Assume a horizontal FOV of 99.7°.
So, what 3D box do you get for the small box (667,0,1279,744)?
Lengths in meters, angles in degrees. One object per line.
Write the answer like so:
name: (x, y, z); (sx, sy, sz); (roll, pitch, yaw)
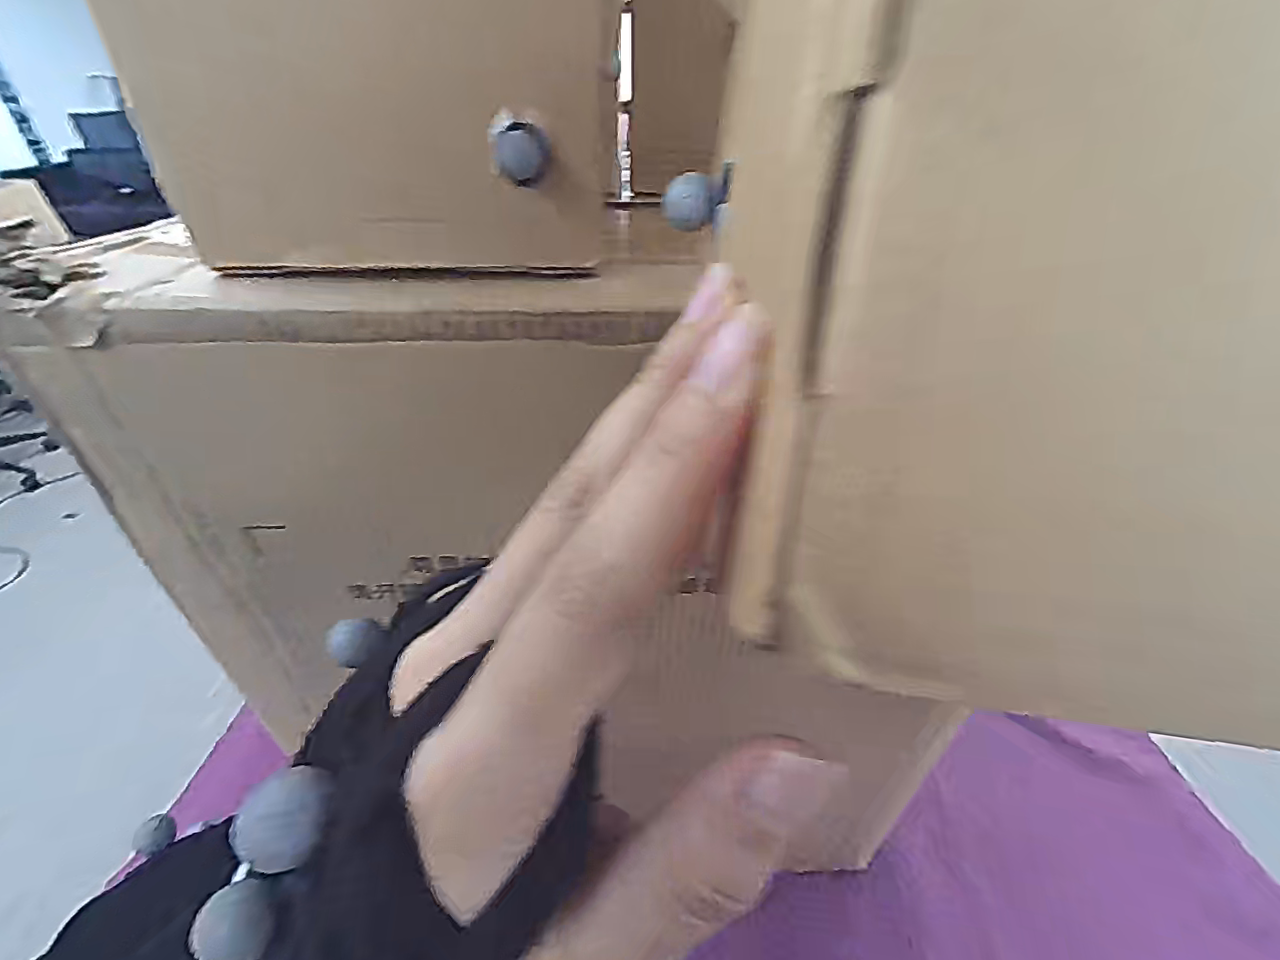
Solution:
small box: (0.108, -0.056, 0.137); (0.179, 0.168, 0.176); (8, 7, -1)
